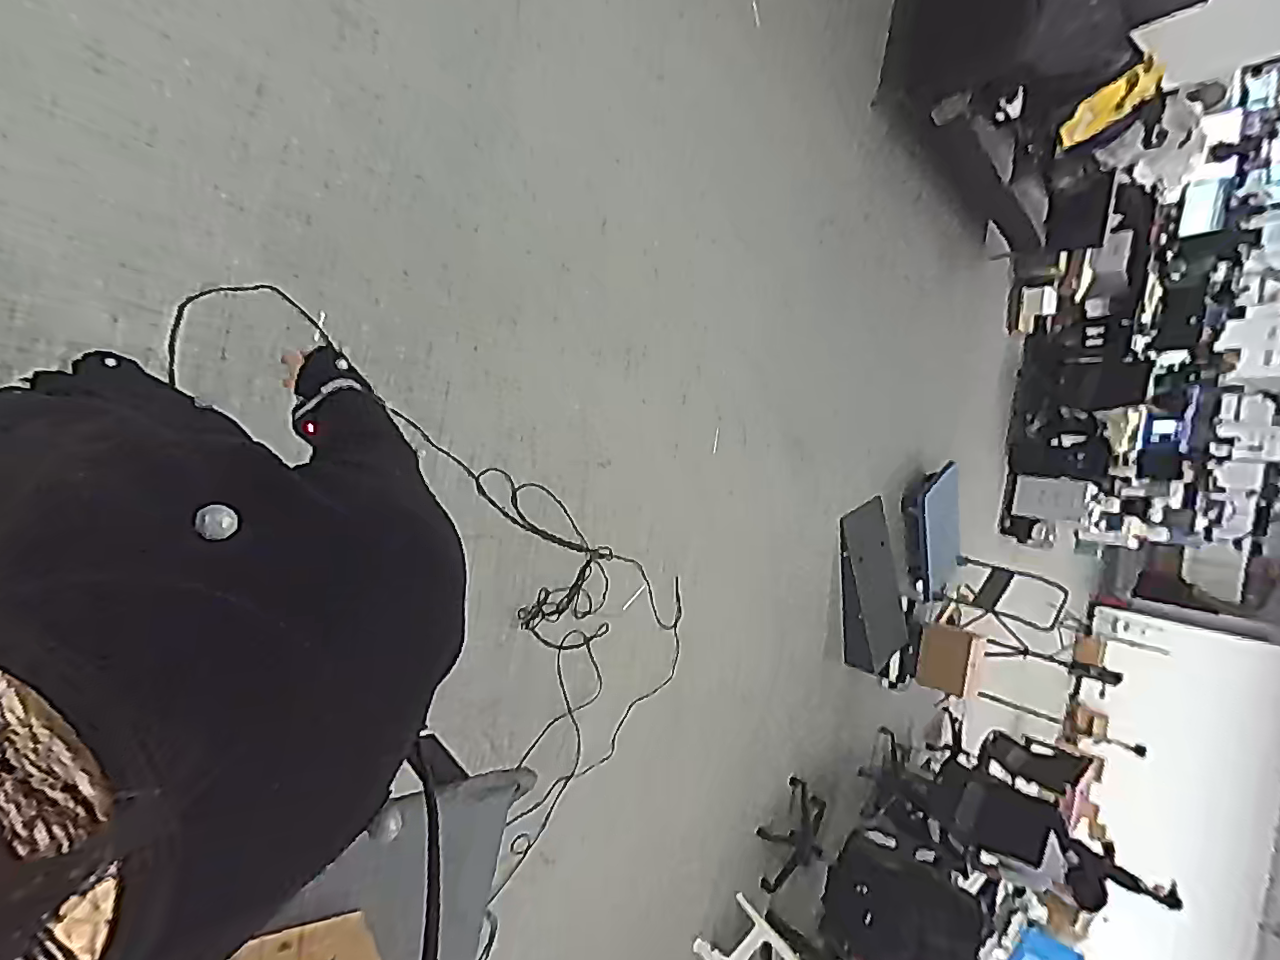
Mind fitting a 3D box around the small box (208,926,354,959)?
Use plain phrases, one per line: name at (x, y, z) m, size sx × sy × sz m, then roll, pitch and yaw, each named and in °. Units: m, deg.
small box at (-0.469, 0.713, 0.679) m, size 0.168 × 0.176 × 0.179 m, roll 21°, pitch 84°, yaw -43°
